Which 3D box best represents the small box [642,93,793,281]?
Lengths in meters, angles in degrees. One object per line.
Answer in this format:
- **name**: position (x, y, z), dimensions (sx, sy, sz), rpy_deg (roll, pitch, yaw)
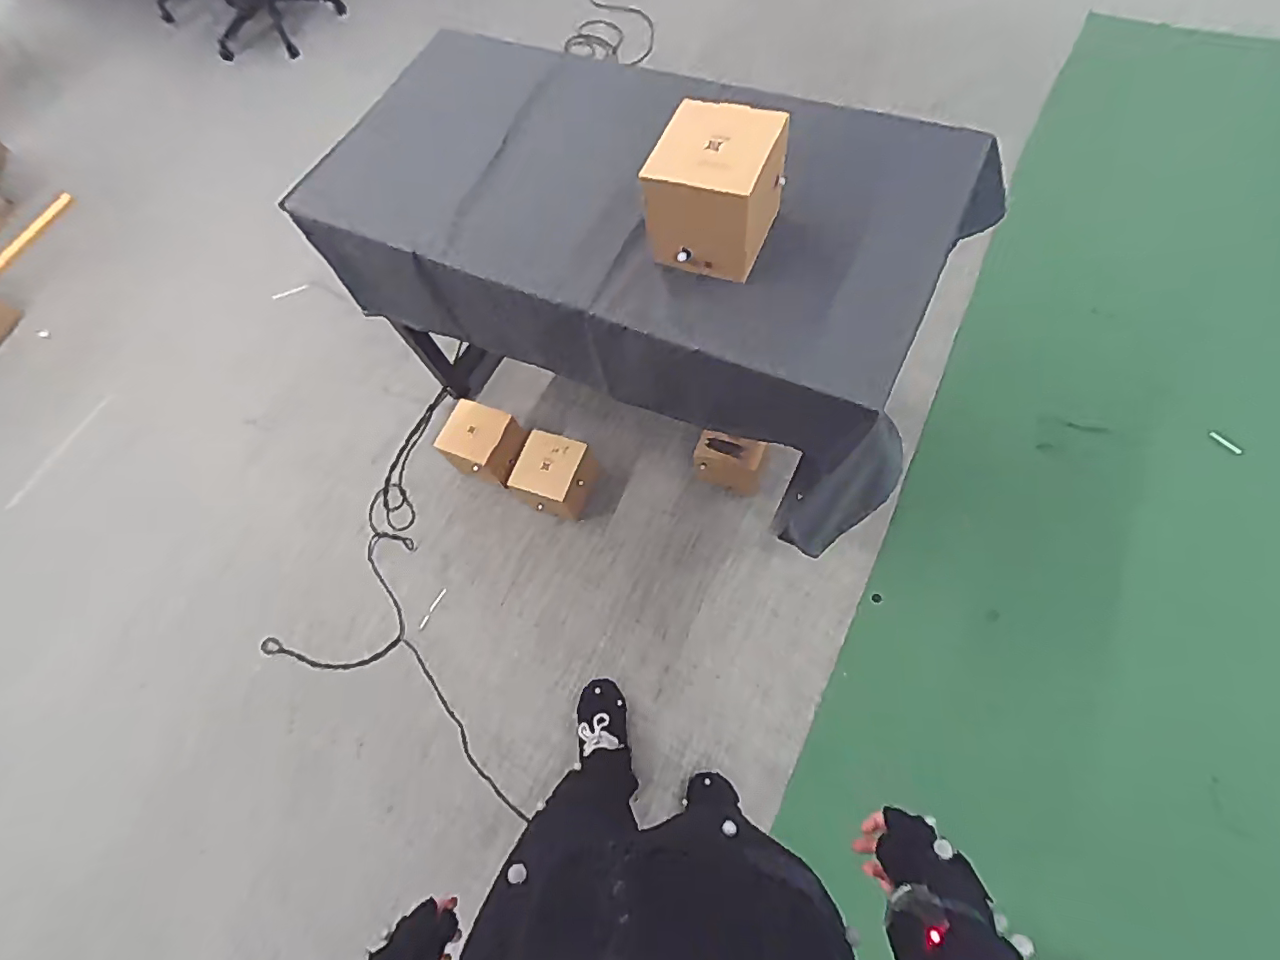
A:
- **small box**: position (0.118, -0.444, 0.830), dimensions (0.168, 0.176, 0.179), rpy_deg (21, 71, 16)
